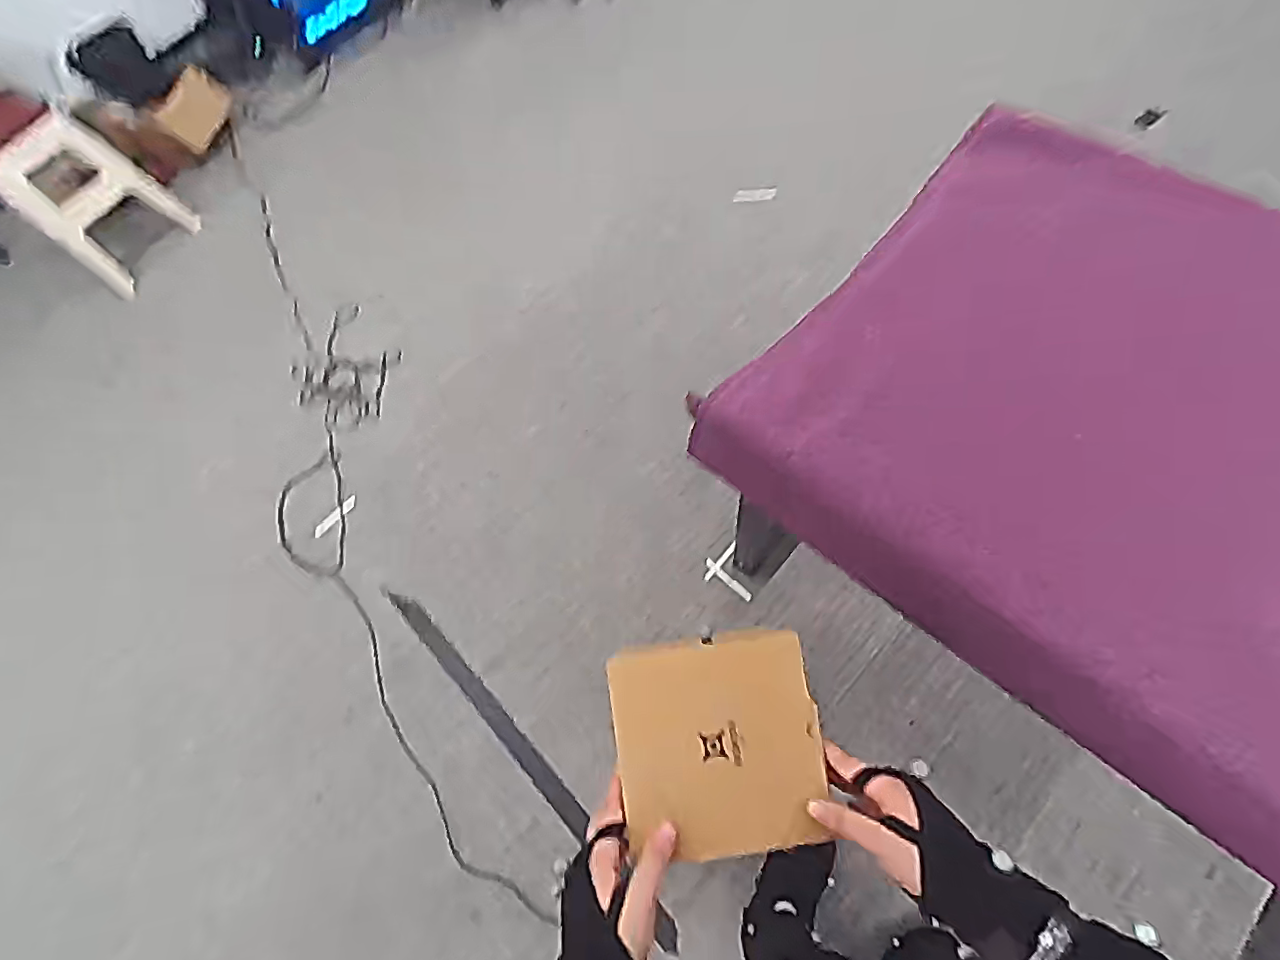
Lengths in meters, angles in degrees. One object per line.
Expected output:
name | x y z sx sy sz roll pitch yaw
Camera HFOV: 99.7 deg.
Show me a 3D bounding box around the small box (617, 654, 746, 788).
small box | 0.075 0.425 0.971 0.179 0.176 0.168 -21 66 1
